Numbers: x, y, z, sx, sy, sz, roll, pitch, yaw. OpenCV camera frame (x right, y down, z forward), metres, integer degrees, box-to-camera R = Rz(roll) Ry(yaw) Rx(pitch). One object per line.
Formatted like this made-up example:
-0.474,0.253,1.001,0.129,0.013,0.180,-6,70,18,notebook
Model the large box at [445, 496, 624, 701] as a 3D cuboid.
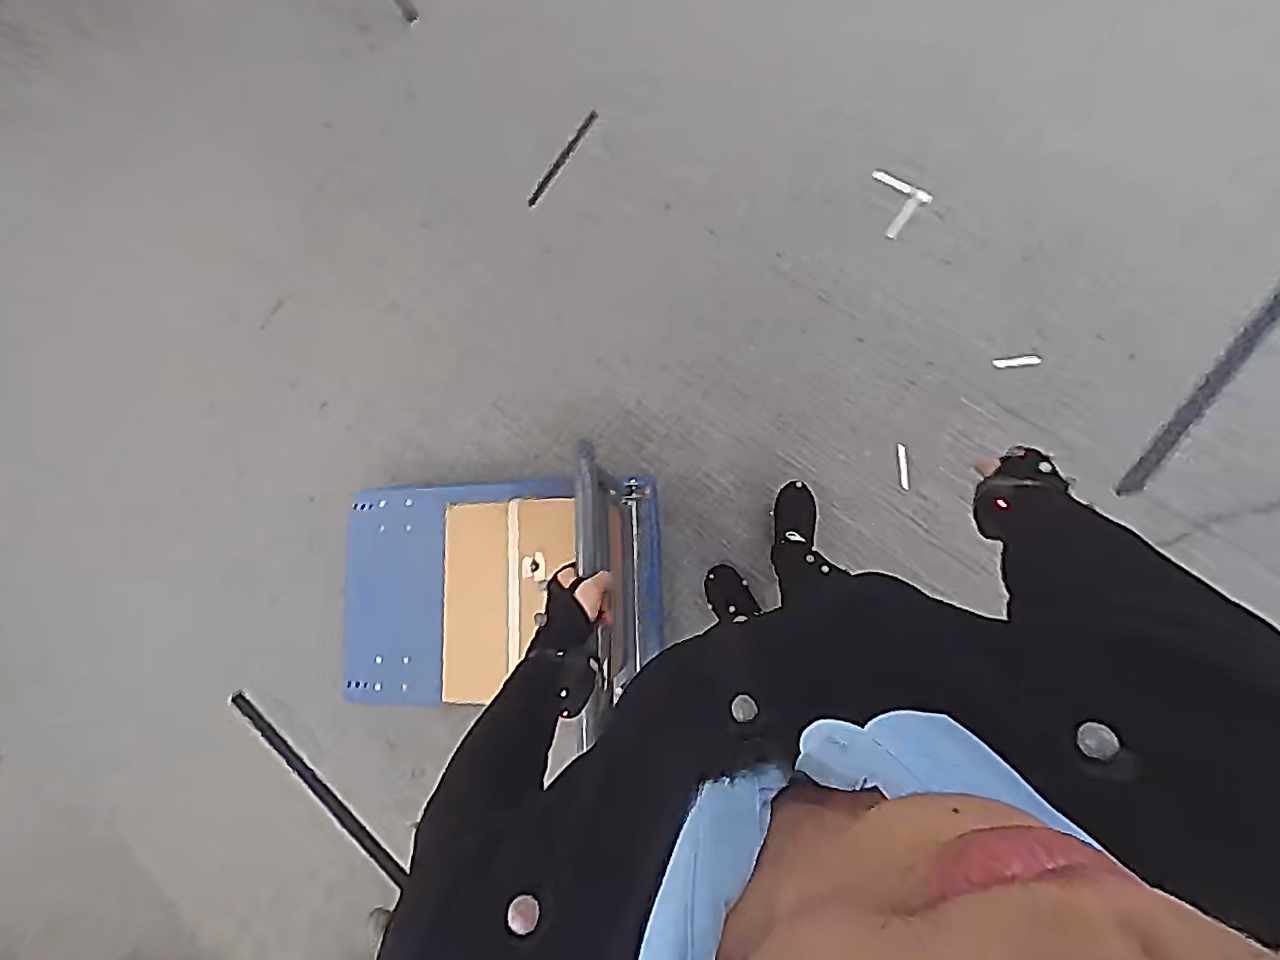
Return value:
-0.225,0.261,1.239,0.320,0.320,0.408,-3,81,9,large box
